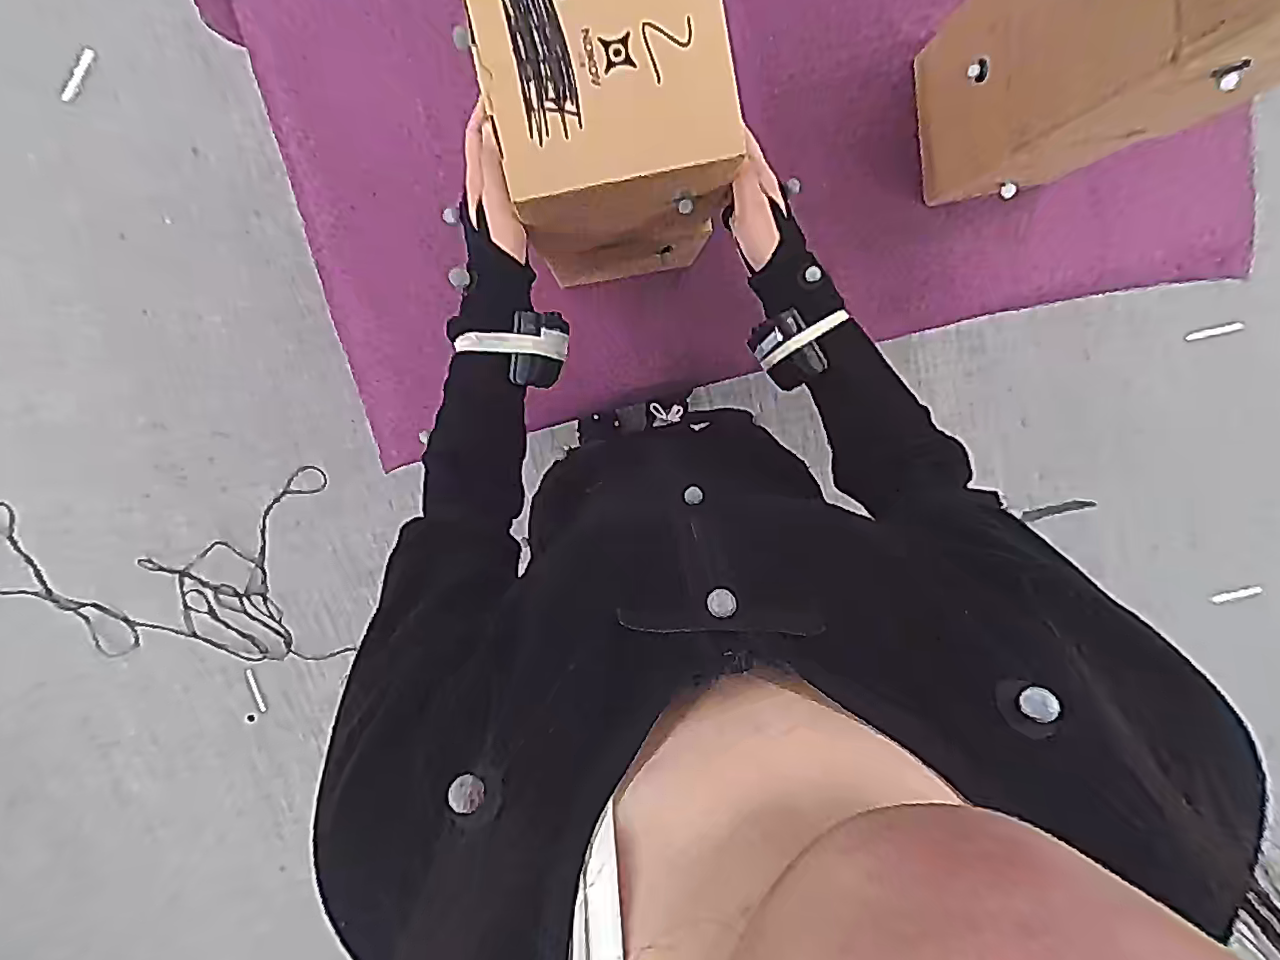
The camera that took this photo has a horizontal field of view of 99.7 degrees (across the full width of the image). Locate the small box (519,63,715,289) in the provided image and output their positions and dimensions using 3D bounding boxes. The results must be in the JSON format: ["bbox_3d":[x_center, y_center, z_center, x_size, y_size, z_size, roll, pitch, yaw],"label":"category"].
[{"bbox_3d":[-0.024,-0.327,0.616,0.179,0.176,0.168,-10,99,0],"label":"small box"}]

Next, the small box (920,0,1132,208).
[{"bbox_3d":[0.441,-0.436,0.611,0.168,0.176,0.179,-10,101,1],"label":"small box"}]
